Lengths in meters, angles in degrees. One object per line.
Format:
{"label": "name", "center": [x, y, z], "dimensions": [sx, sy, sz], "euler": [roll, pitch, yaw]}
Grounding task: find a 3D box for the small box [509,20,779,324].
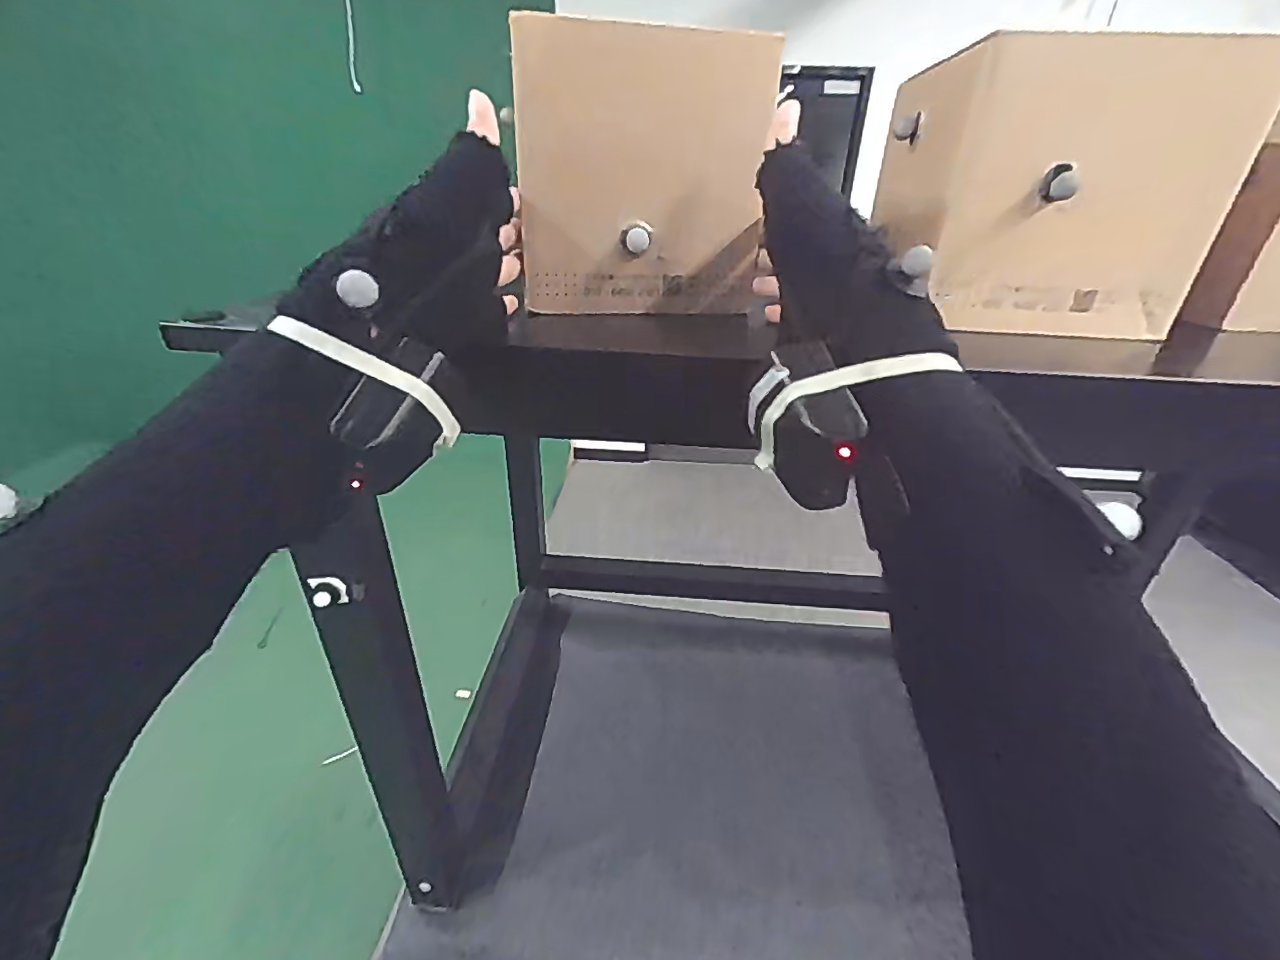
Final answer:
{"label": "small box", "center": [-0.010, -0.229, 0.428], "dimensions": [0.168, 0.176, 0.179], "euler": [-3, 30, -9]}
